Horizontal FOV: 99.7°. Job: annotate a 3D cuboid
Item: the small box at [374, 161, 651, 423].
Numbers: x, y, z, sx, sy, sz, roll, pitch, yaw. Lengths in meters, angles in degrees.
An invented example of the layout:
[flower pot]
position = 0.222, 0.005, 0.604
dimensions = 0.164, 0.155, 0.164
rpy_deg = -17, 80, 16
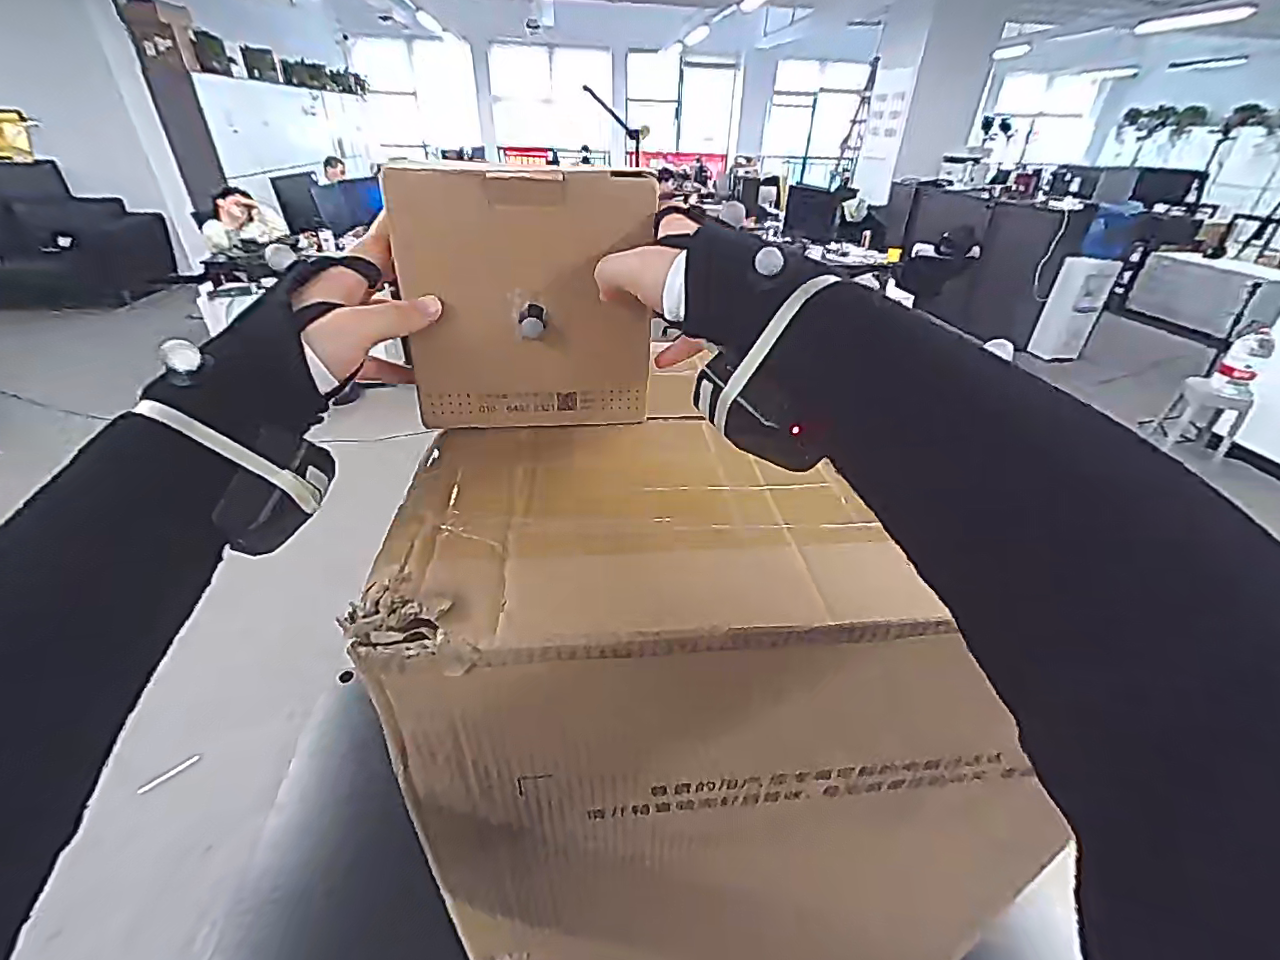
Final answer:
[small box]
position = -0.085, -0.151, 0.427
dimensions = 0.168, 0.176, 0.179
rpy_deg = -3, 32, -8
